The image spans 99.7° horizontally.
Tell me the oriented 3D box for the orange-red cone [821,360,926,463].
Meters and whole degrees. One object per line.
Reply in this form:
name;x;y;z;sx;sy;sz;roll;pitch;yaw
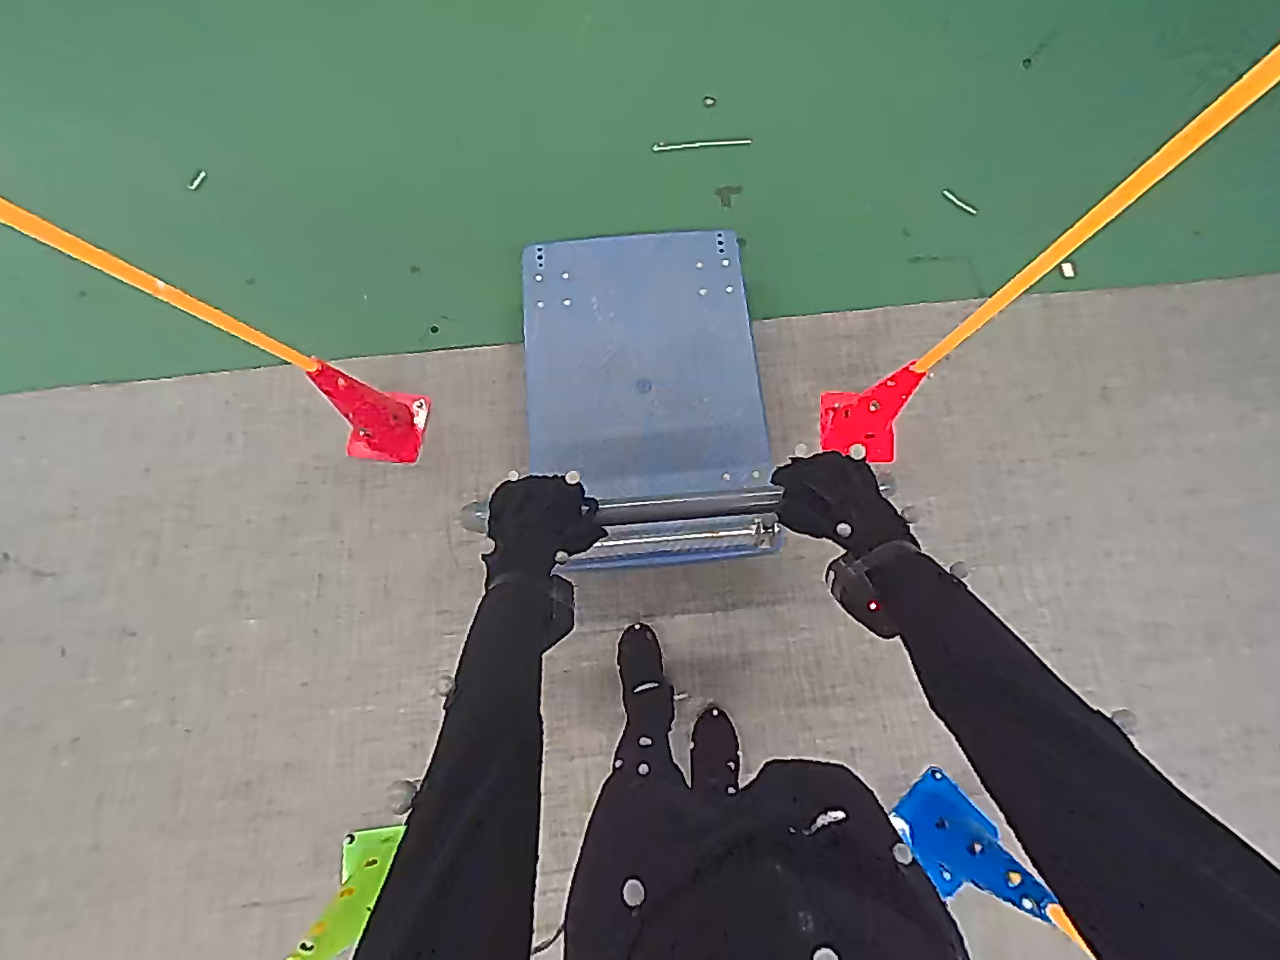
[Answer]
orange-red cone;0.595;-0.190;1.316;0.198;0.360;0.199;5;75;2
